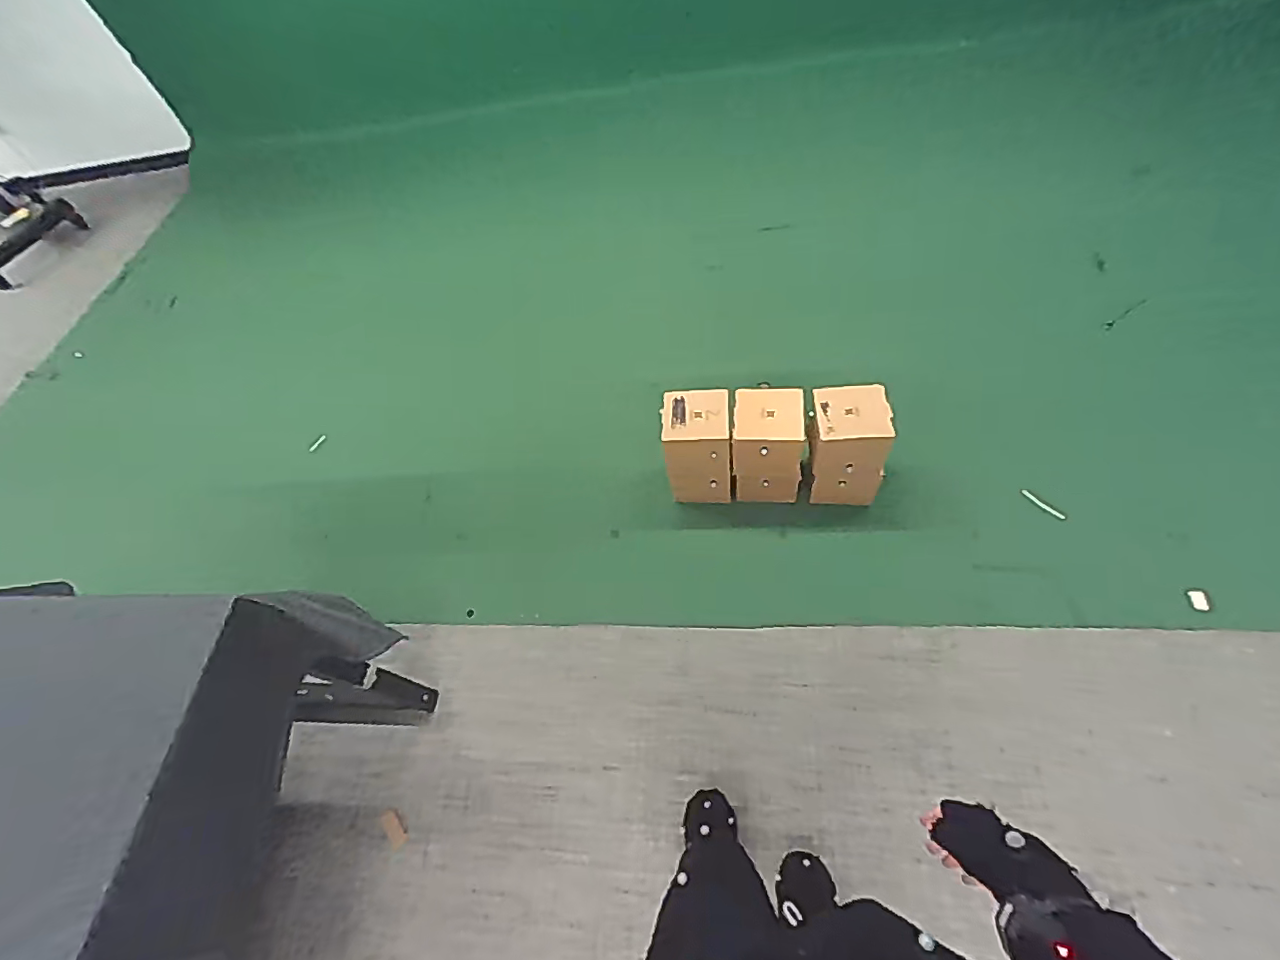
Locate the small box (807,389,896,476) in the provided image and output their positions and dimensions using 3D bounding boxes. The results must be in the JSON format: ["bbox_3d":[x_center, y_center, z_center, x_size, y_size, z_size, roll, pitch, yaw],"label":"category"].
[{"bbox_3d":[0.546,-0.121,1.418,0.179,0.176,0.168,-1,58,9],"label":"small box"}]
